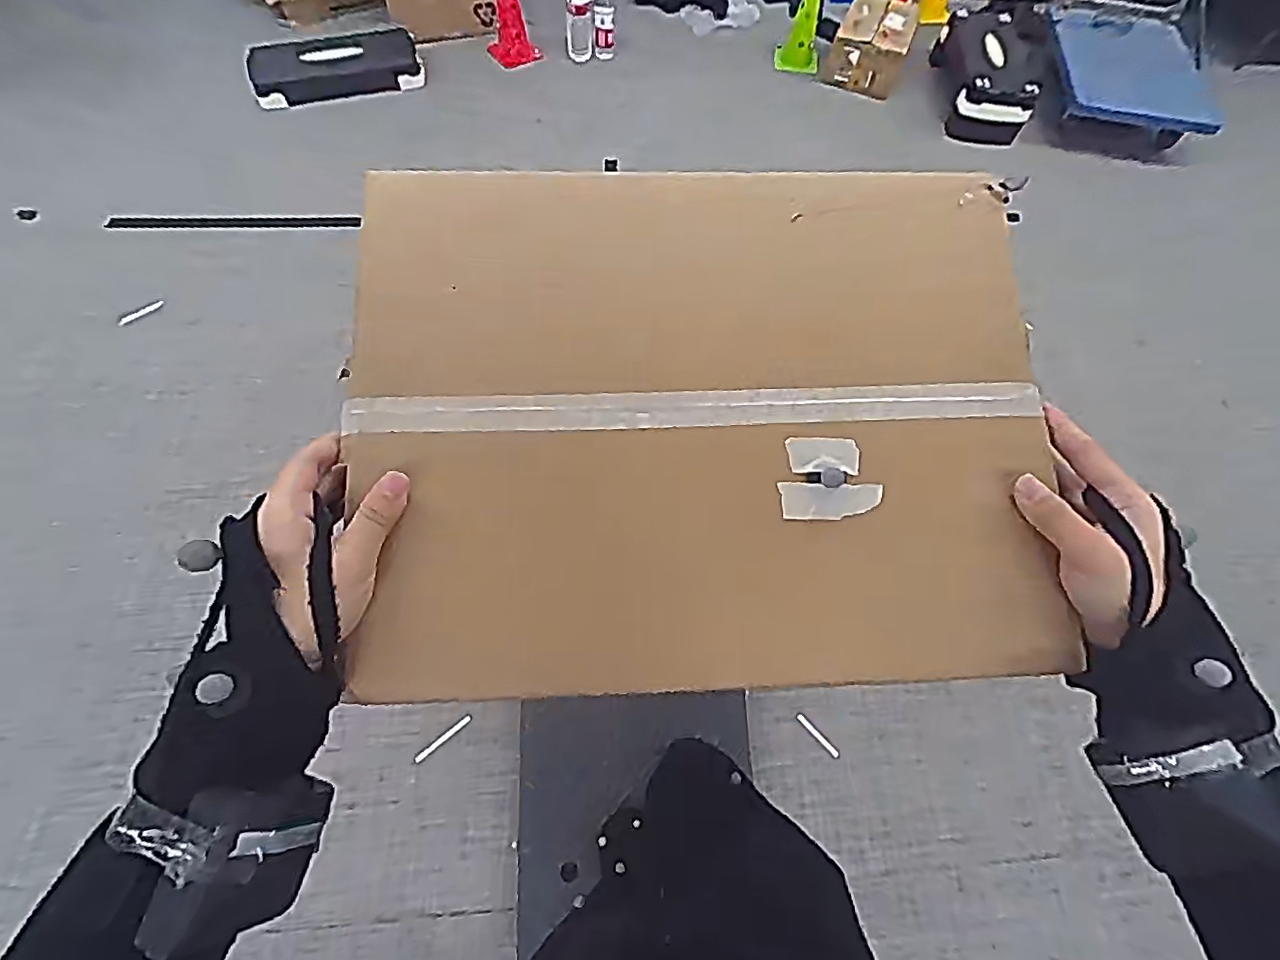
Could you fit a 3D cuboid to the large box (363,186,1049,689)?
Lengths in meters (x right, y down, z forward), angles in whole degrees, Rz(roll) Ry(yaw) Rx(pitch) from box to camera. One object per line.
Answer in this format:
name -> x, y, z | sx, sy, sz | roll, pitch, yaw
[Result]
large box -> 0.029, -0.017, 0.479 | 0.408, 0.320, 0.320 | -2, 80, -3
